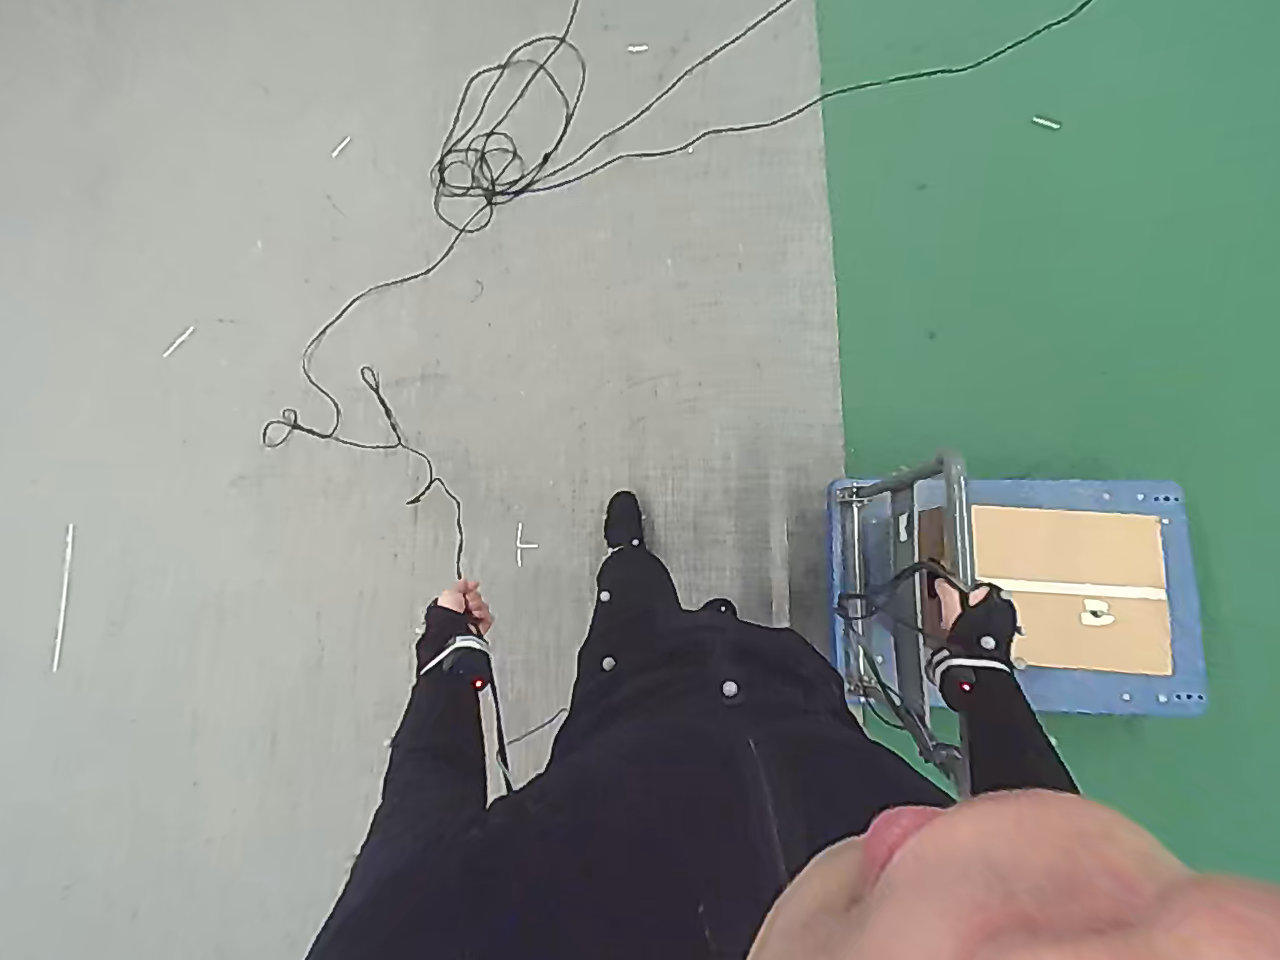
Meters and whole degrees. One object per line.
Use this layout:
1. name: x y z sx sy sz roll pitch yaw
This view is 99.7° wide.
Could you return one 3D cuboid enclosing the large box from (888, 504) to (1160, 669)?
1. large box: 0.828 0.233 1.230 0.408 0.320 0.320 3 82 4
